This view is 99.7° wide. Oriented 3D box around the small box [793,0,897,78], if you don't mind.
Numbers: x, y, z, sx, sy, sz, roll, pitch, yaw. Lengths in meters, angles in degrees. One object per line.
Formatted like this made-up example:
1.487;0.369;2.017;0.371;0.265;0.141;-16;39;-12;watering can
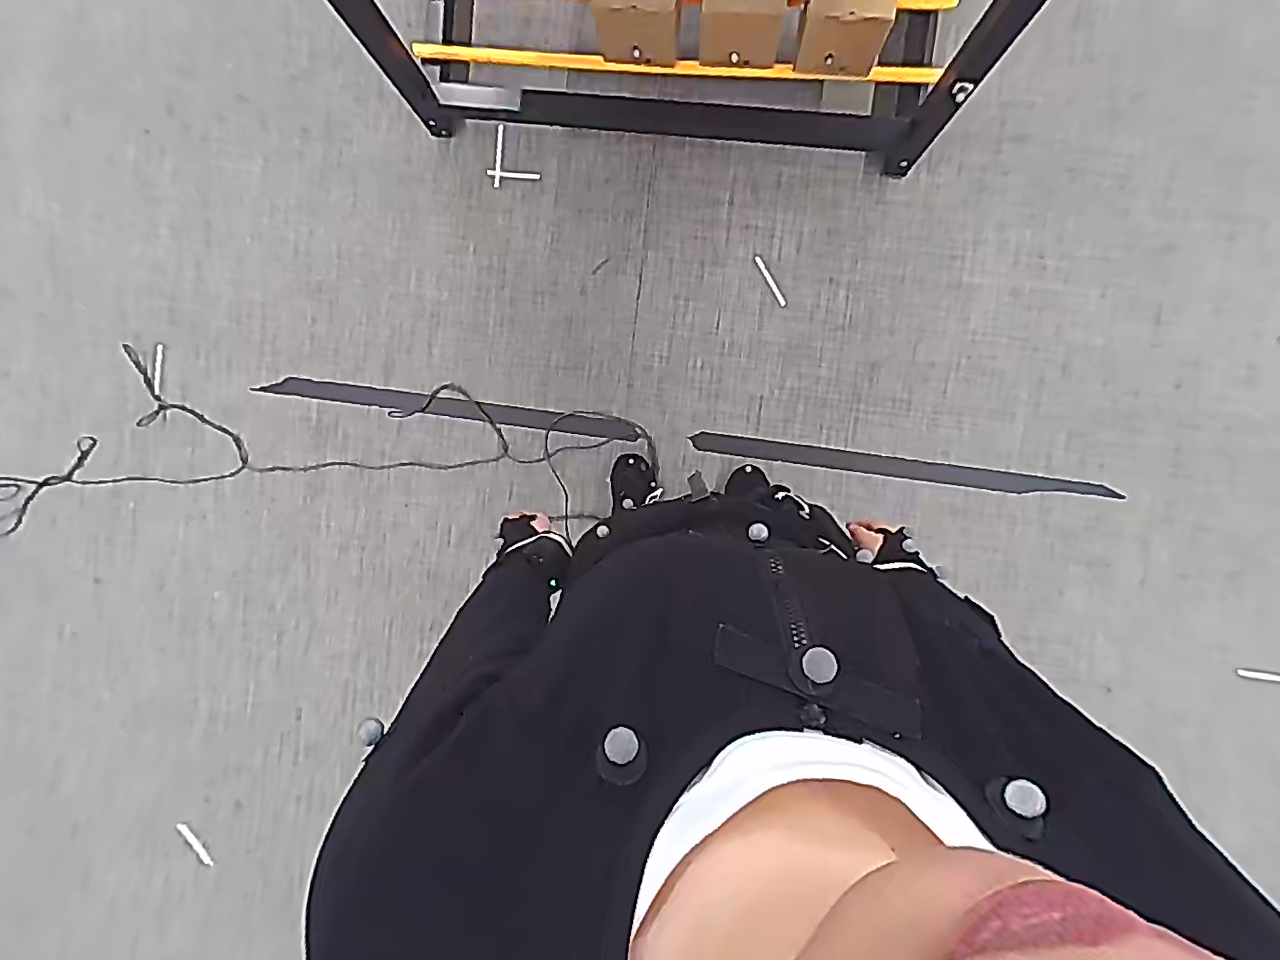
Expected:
0.419;-0.974;1.106;0.168;0.176;0.179;6;95;4;small box

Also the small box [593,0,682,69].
0.001;-1.018;1.135;0.168;0.176;0.179;8;95;3;small box
